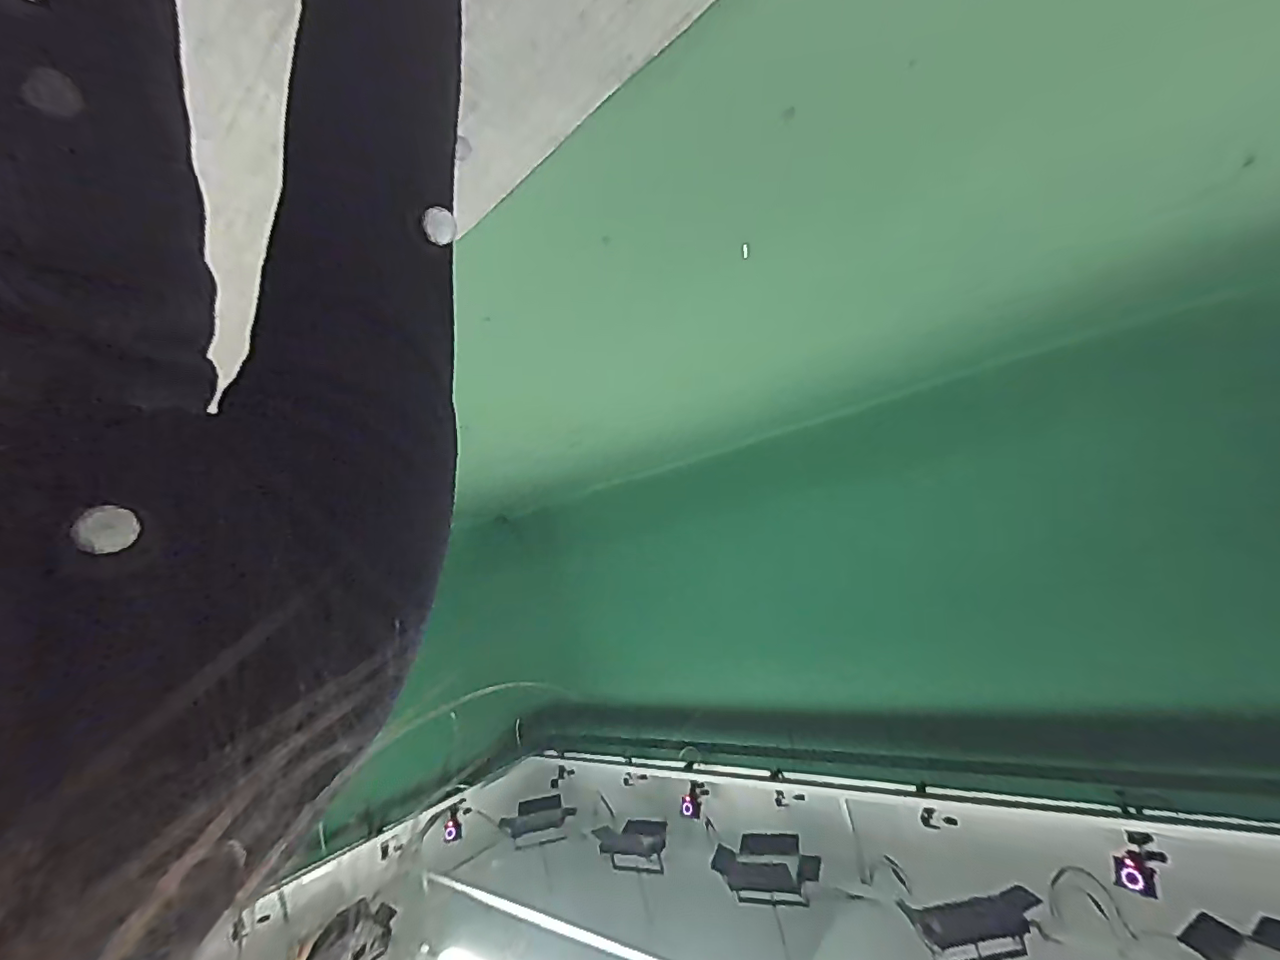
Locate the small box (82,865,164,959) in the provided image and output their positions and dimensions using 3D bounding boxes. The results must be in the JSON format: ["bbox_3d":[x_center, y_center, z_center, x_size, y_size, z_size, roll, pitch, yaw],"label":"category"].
[{"bbox_3d":[-1.502,1.265,1.572,0.168,0.176,0.179,-1,167,-43],"label":"small box"}]
